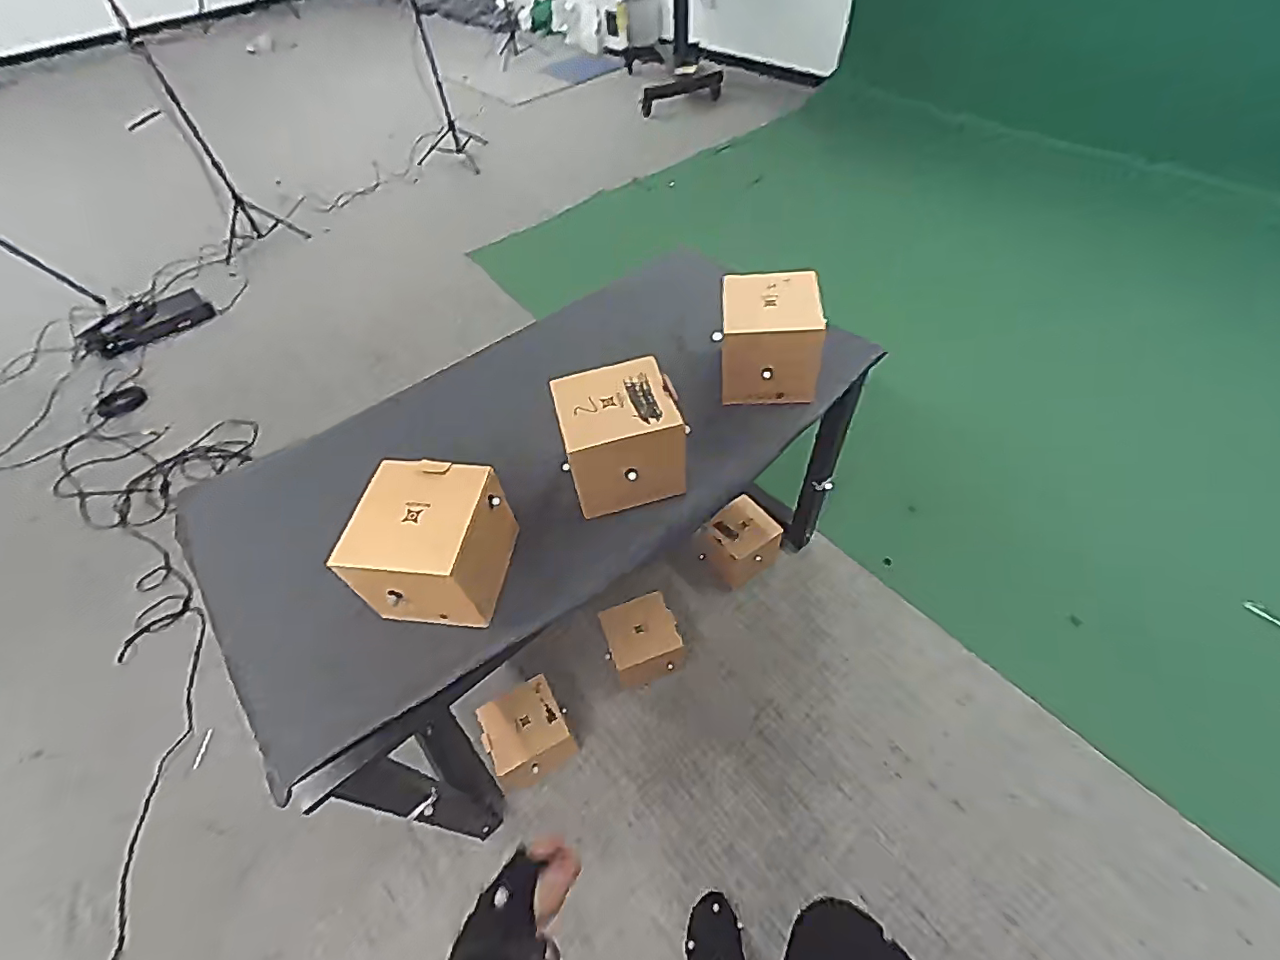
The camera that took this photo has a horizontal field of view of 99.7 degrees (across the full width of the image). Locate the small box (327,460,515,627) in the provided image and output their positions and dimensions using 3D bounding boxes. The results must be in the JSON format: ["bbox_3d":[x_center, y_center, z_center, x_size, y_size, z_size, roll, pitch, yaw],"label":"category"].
[{"bbox_3d":[-0.291,0.093,0.769,0.168,0.176,0.179,3,52,7],"label":"small box"}]

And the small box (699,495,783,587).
[{"bbox_3d":[0.289,0.182,1.578,0.179,0.176,0.168,-30,56,-19],"label":"small box"}]

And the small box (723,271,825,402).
[{"bbox_3d":[0.239,-0.258,0.996,0.168,0.176,0.179,1,52,8],"label":"small box"}]

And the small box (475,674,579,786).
[{"bbox_3d":[-0.266,0.602,1.294,0.179,0.176,0.168,-25,55,-14],"label":"small box"}]

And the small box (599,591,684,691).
[{"bbox_3d":[0.006,0.423,1.413,0.179,0.176,0.168,-19,52,-9],"label":"small box"}]
